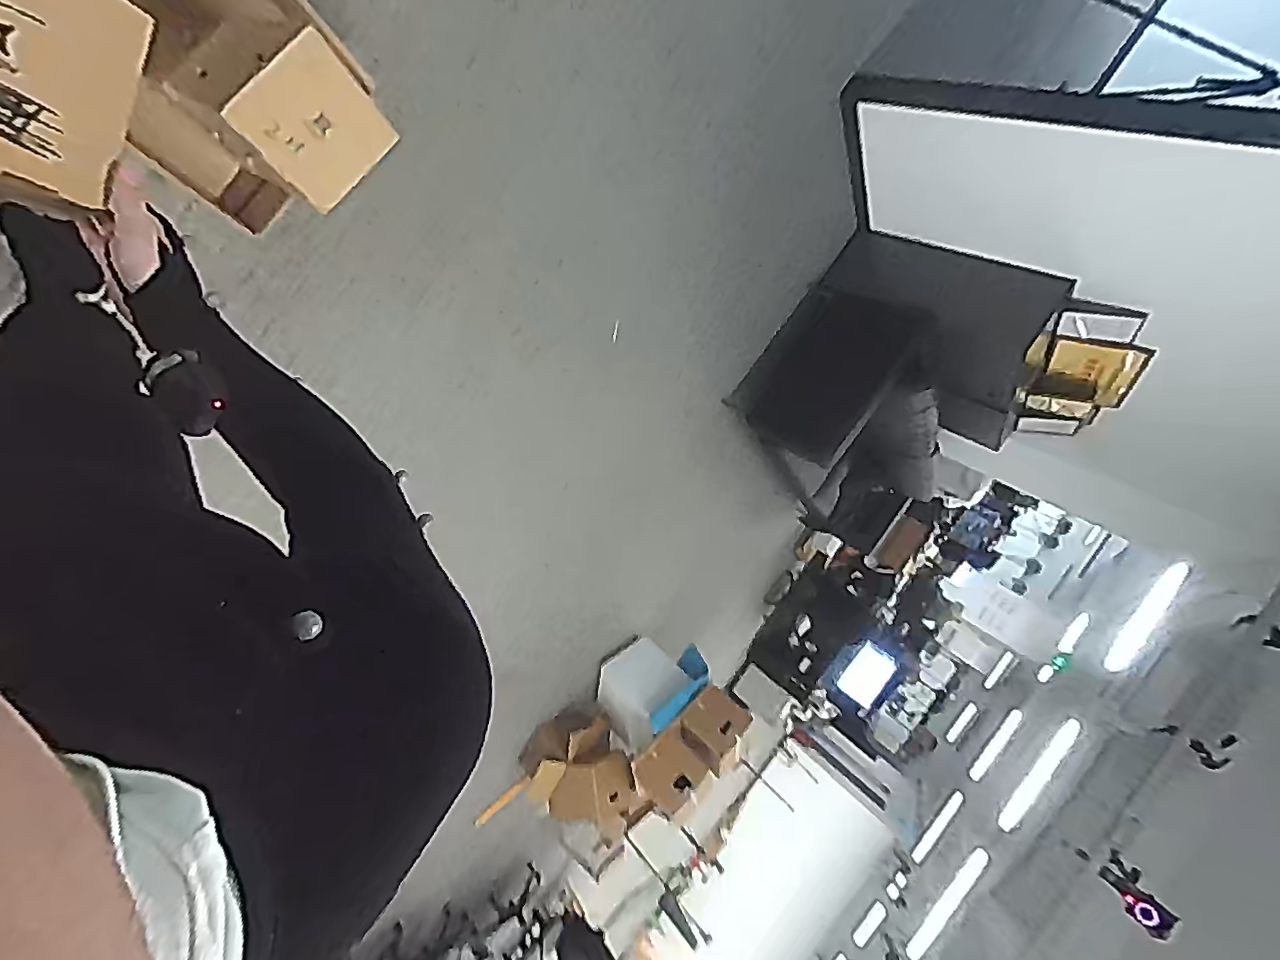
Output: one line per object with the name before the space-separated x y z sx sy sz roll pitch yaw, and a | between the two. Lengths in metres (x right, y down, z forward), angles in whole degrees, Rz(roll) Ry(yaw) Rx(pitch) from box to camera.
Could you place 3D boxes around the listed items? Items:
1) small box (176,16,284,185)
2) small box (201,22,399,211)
small box | -0.630 -0.639 0.912 0.179 0.176 0.168 -50 148 -5
small box | -0.518 -0.555 0.823 0.179 0.176 0.168 -49 147 -5
